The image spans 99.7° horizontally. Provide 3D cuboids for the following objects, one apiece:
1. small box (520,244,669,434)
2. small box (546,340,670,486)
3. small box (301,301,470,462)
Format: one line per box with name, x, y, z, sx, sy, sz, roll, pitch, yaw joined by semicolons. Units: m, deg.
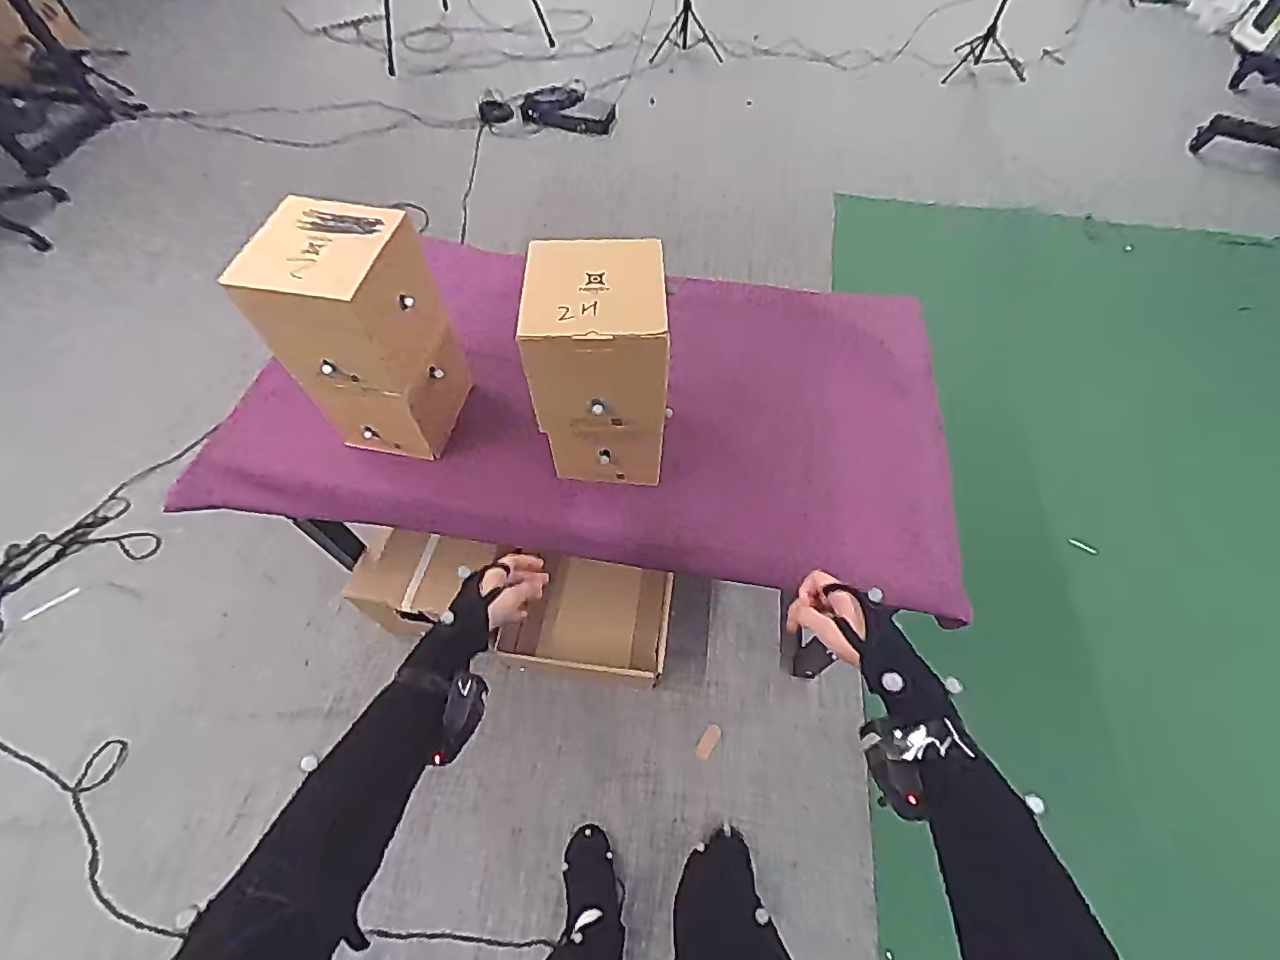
small box;-0.051;-0.179;0.697;0.168;0.176;0.179;-1;57;0
small box;-0.042;-0.107;0.848;0.168;0.176;0.179;5;57;2
small box;-0.393;-0.157;0.877;0.168;0.176;0.179;10;58;5
